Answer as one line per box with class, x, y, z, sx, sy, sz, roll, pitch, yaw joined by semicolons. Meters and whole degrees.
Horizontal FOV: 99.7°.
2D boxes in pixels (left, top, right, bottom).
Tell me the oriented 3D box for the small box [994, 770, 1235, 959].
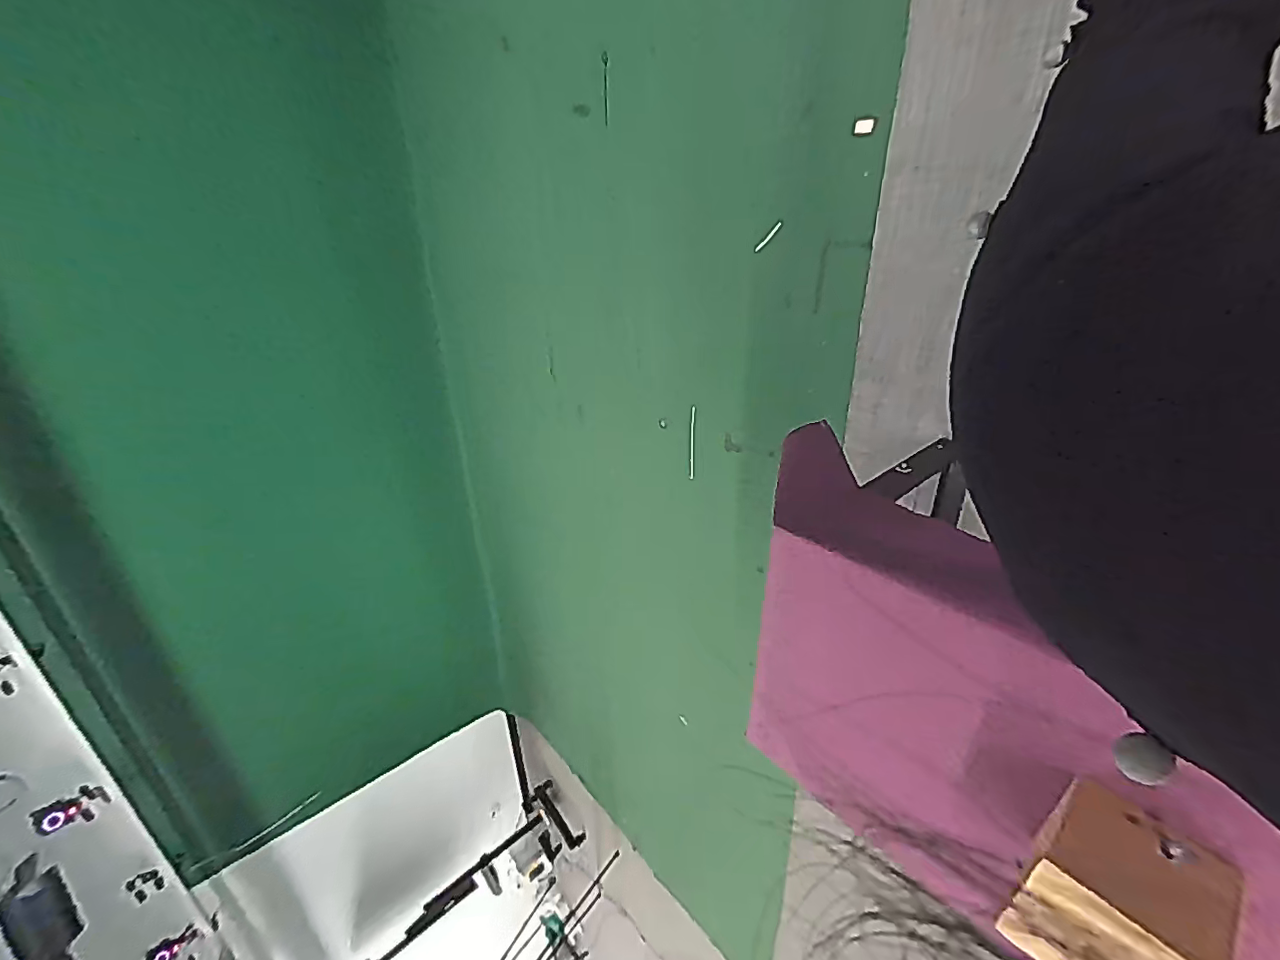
small box;0.588;0.516;0.675;0.168;0.176;0.179;30;129;40
